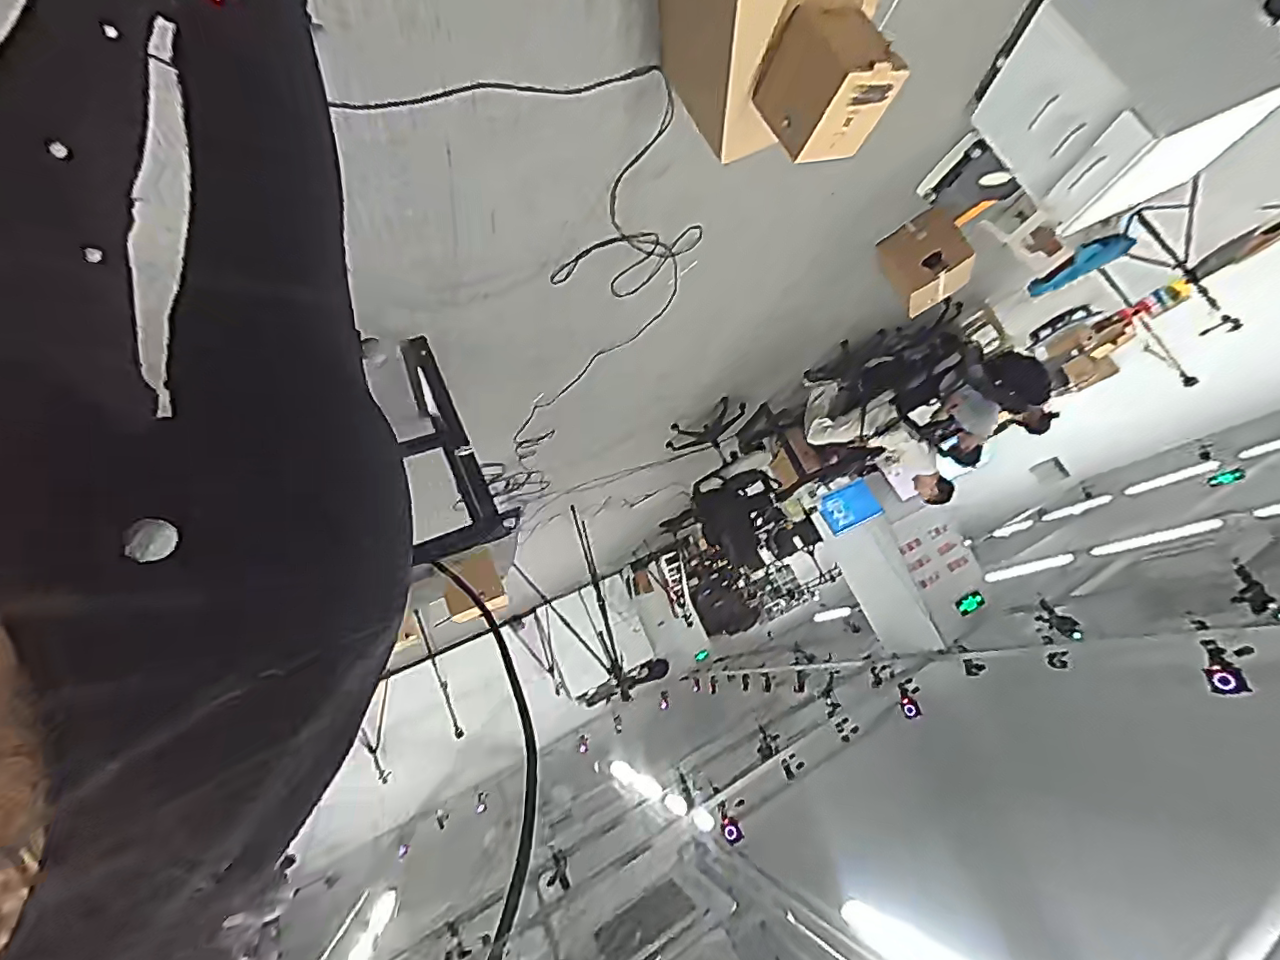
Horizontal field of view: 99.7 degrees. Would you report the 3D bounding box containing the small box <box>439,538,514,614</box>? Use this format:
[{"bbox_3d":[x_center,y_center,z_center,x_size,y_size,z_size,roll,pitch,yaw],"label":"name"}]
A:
[{"bbox_3d":[-0.495,0.291,1.649,0.168,0.176,0.179,-22,166,-16],"label":"small box"}]

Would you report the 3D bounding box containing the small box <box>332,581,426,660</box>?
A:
[{"bbox_3d":[-0.770,0.411,1.600,0.179,0.176,0.168,-24,166,-5],"label":"small box"}]
